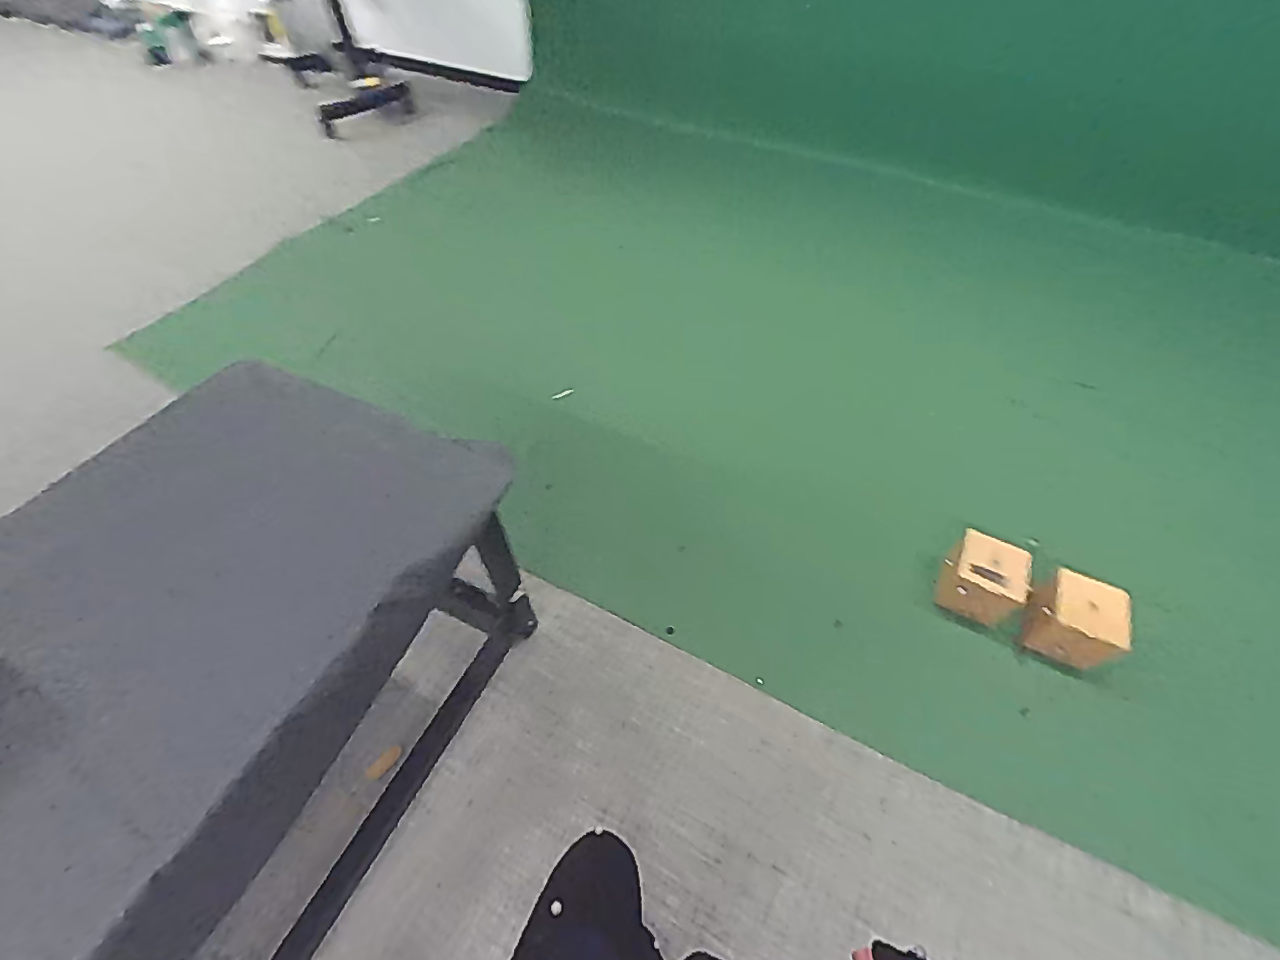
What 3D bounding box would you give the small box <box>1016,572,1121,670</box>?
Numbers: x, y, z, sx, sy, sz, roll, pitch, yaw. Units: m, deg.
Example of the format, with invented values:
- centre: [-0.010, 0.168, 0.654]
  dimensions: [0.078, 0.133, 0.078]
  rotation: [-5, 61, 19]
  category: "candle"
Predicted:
- centre: [1.167, 0.389, 1.481]
  dimensions: [0.168, 0.176, 0.179]
  rotation: [23, 57, 14]
  category: "small box"
